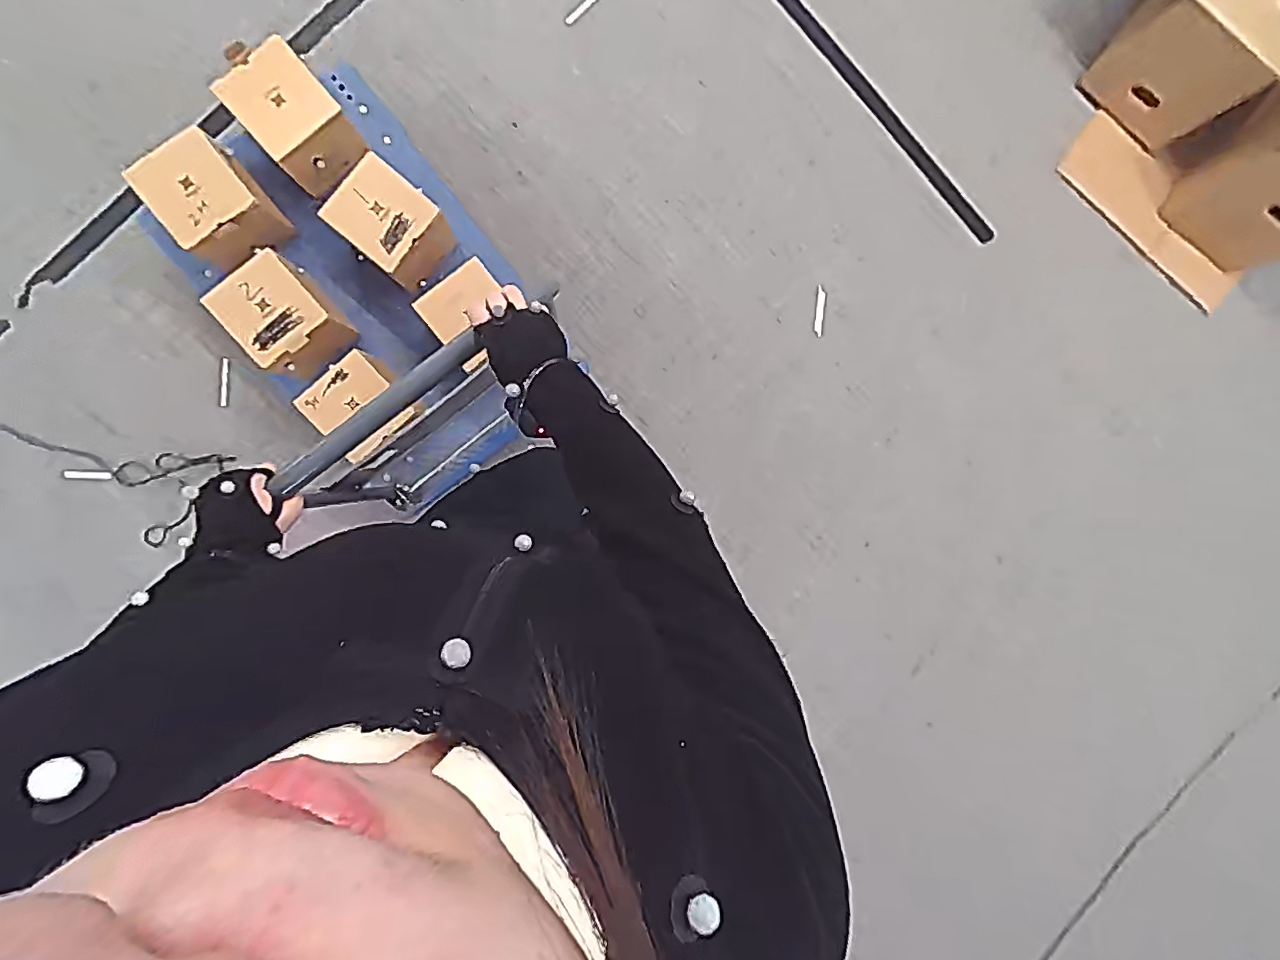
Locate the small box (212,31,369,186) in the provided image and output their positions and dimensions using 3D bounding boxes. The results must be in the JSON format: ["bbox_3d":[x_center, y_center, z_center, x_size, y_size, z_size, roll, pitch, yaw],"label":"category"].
[{"bbox_3d":[-0.698,-0.739,1.107,0.168,0.176,0.179,-42,98,-2],"label":"small box"}]

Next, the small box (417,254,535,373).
[{"bbox_3d":[-0.345,-0.350,1.180,0.168,0.176,0.179,-39,97,-3],"label":"small box"}]

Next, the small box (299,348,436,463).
[{"bbox_3d":[-0.572,-0.157,1.164,0.168,0.176,0.179,-43,98,-3],"label":"small box"}]

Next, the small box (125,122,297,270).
[{"bbox_3d":[-0.854,-0.563,1.098,0.168,0.176,0.179,-38,98,-3],"label":"small box"}]

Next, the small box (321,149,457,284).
[{"bbox_3d":[-0.516,-0.540,1.144,0.179,0.176,0.168,39,89,-8],"label":"small box"}]
